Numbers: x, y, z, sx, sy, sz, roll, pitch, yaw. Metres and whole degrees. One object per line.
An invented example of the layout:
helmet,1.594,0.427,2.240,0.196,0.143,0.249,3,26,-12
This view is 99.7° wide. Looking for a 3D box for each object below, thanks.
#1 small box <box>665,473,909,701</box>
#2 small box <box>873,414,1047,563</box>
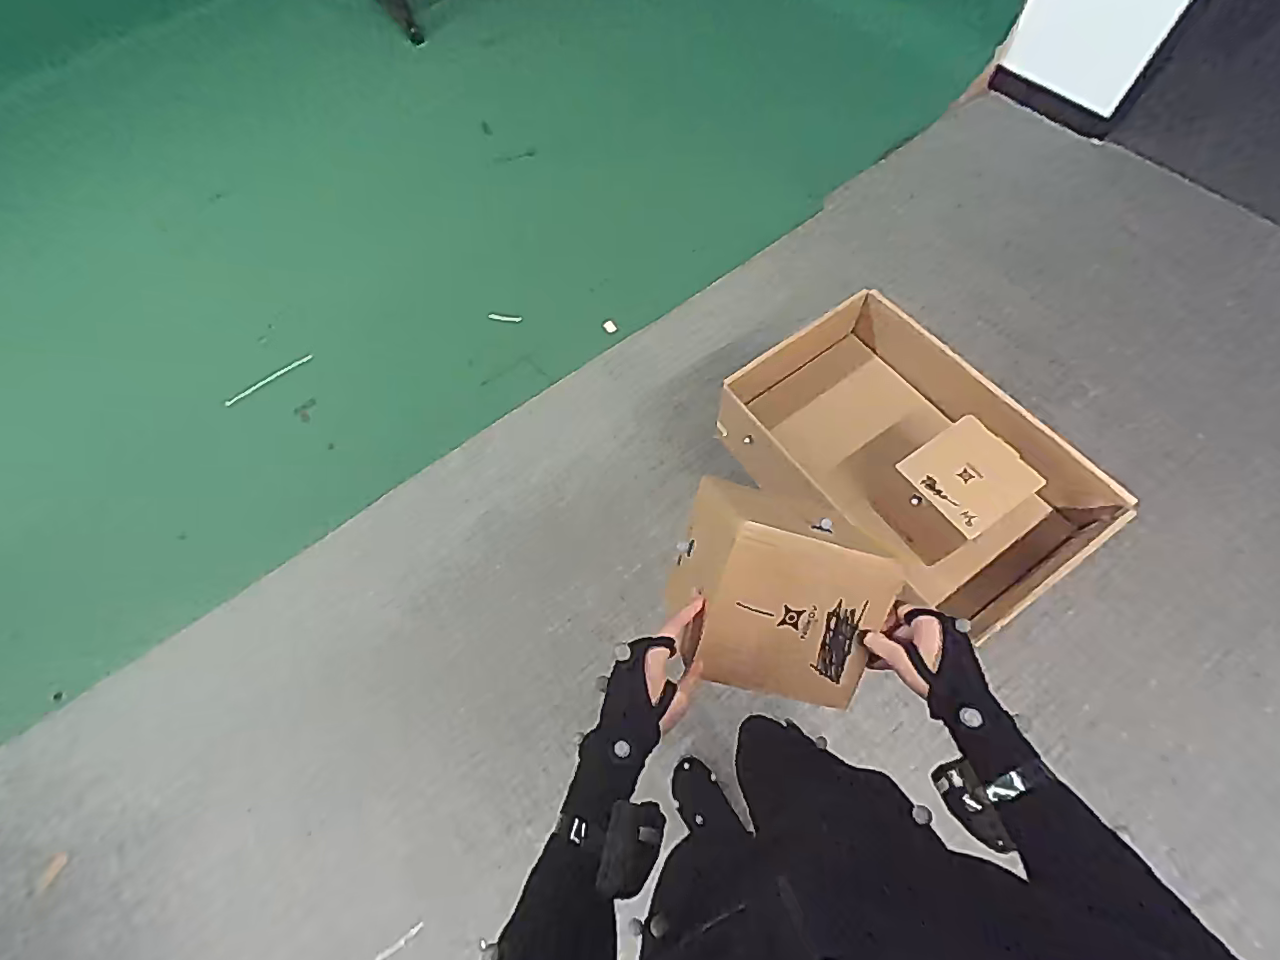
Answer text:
small box,0.140,0.103,0.585,0.179,0.176,0.168,16,102,-9
small box,0.553,0.021,0.964,0.179,0.176,0.168,-32,65,-10
